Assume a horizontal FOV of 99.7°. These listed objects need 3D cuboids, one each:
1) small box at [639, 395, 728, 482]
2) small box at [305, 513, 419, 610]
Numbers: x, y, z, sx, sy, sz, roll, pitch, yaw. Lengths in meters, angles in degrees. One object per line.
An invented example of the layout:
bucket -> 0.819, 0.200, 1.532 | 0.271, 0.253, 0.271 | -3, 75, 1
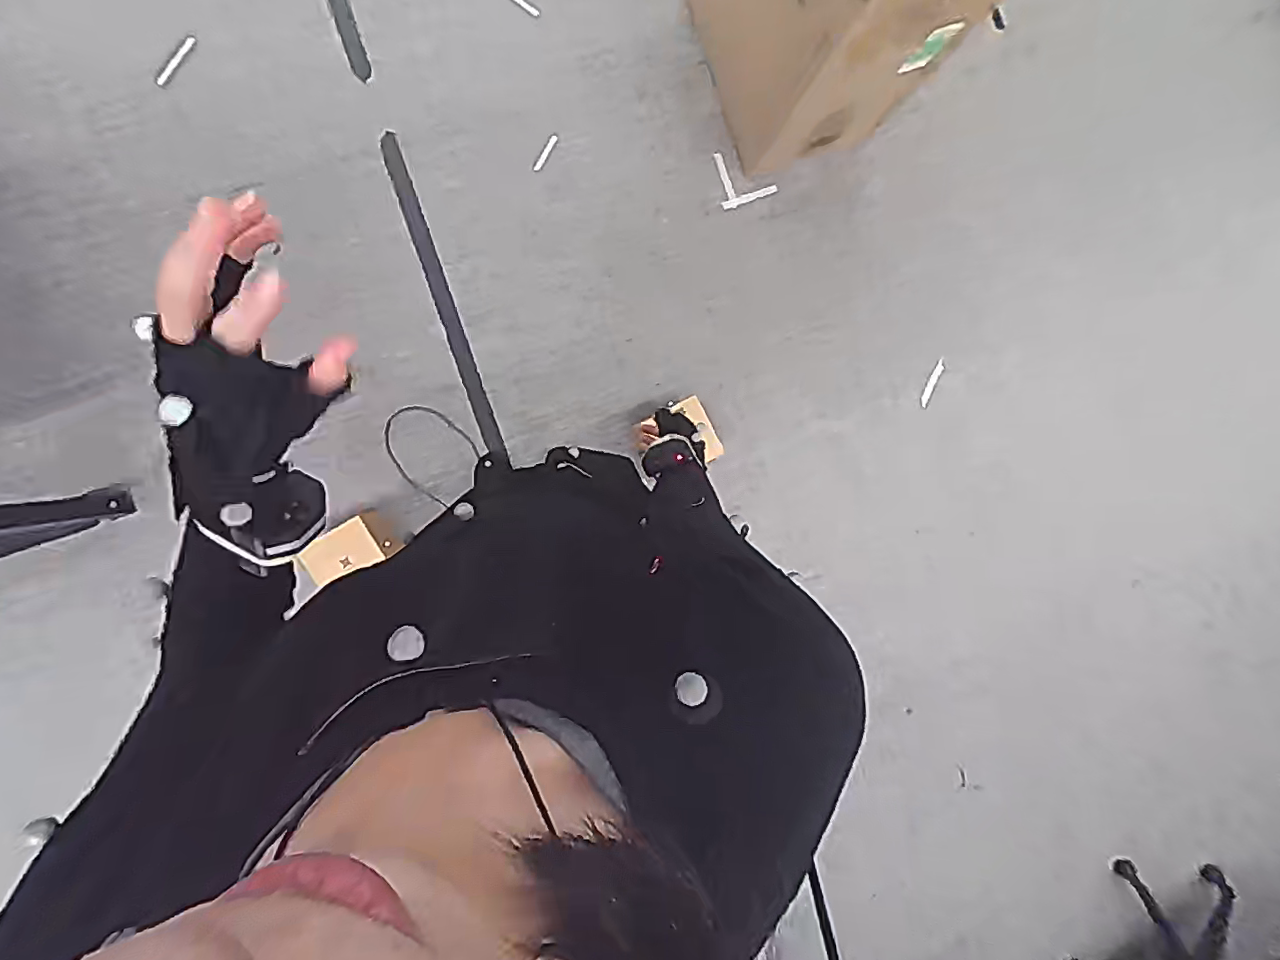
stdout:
small box -> 0.113, -0.113, 1.471 | 0.168, 0.176, 0.179 | -29, 97, -6
small box -> -0.692, 0.198, 1.370 | 0.168, 0.176, 0.179 | -31, 94, -6
